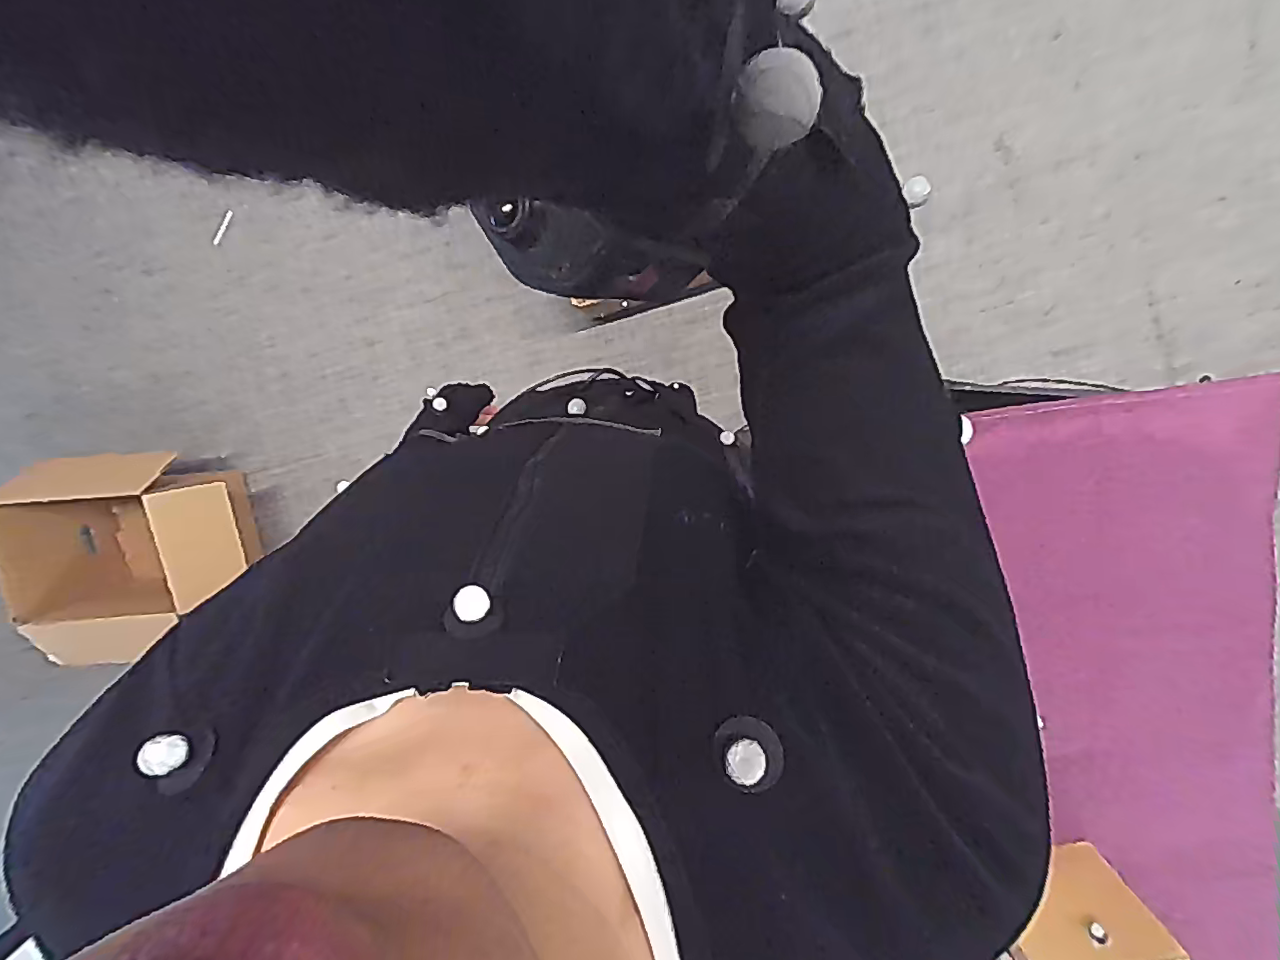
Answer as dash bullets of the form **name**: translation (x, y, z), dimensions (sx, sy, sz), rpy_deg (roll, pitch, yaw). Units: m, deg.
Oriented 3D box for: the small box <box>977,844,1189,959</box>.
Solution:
- **small box**: translation (0.596, 0.647, 0.744), dimensions (0.179, 0.176, 0.168), rpy_deg (-15, 99, 5)
